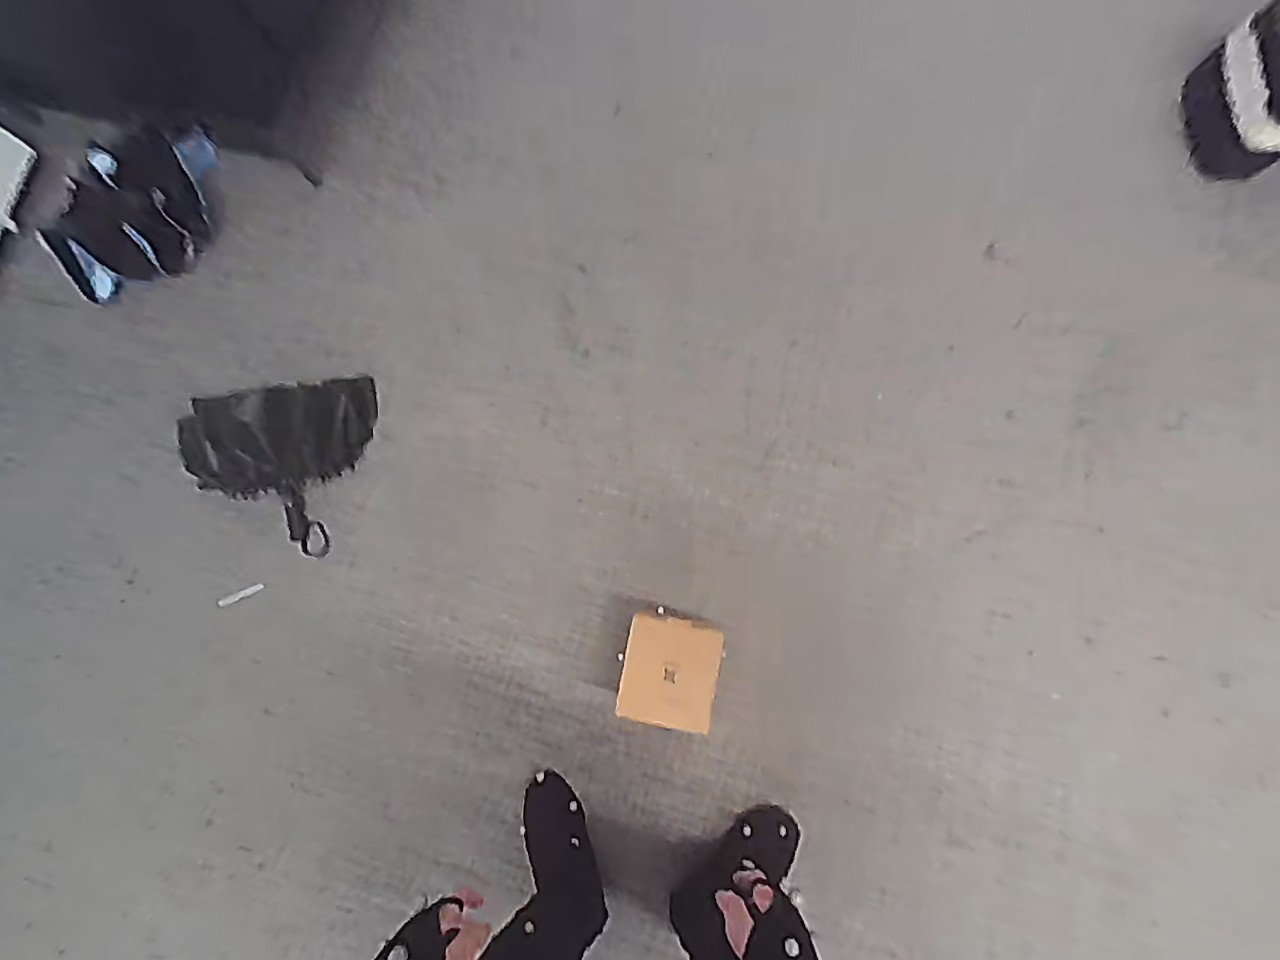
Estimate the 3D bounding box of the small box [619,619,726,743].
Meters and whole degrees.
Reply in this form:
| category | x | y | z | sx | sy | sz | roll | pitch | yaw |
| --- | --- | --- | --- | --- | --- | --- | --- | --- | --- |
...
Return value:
| category | x | y | z | sx | sy | sz | roll | pitch | yaw |
| --- | --- | --- | --- | --- | --- | --- | --- | --- | --- |
| small box | 0.062 | 0.364 | 1.014 | 0.168 | 0.176 | 0.179 | 9 | 80 | 6 |
